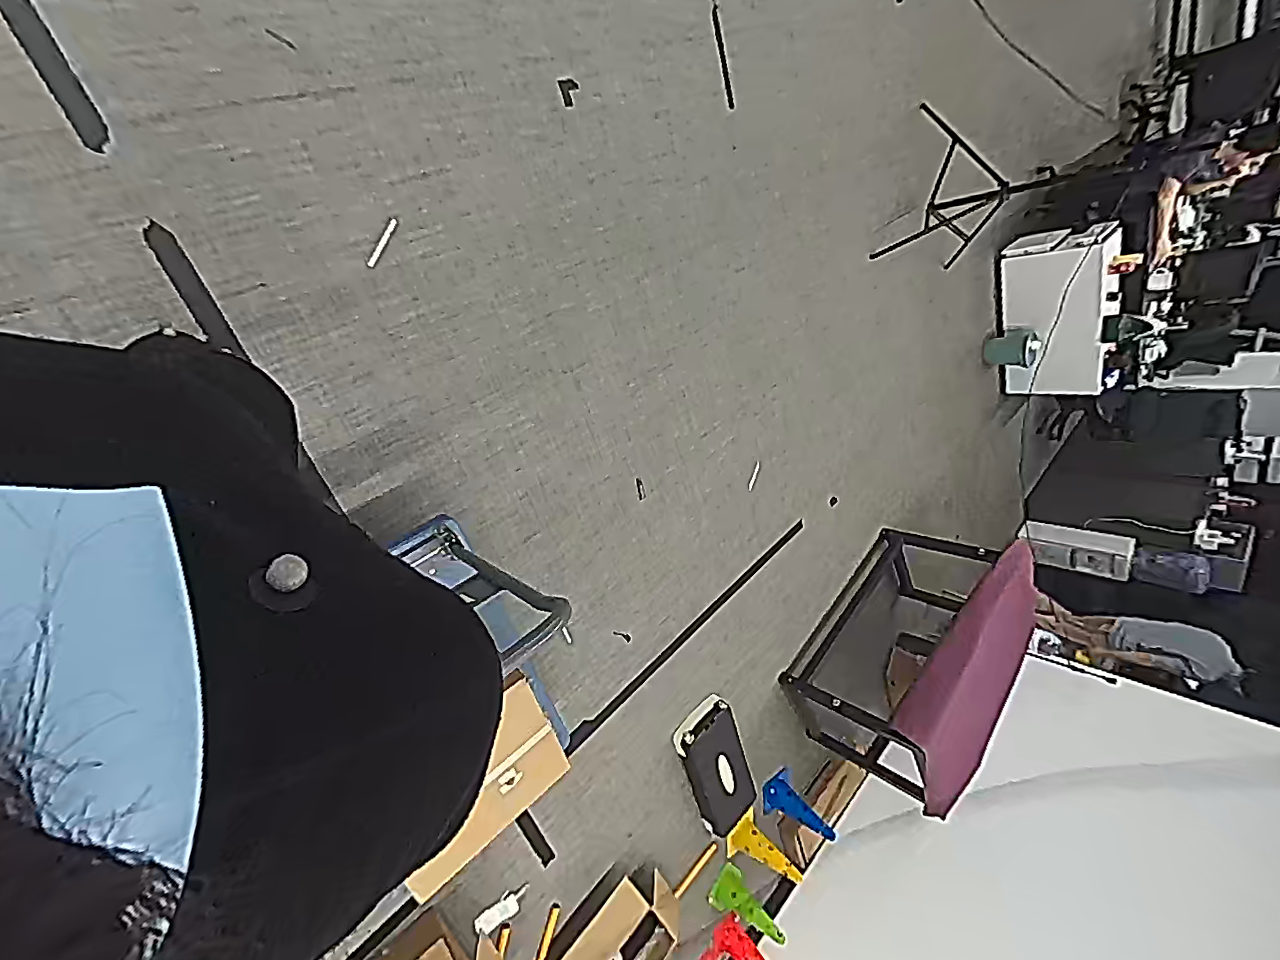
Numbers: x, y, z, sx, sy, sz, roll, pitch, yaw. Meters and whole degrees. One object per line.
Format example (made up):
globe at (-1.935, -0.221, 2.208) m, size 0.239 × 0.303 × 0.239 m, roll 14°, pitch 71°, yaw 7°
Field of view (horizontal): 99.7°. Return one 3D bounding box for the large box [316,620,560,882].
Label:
large box at (-0.478, 0.616, 1.304) m, size 0.408 × 0.320 × 0.320 m, roll -34°, pitch 119°, yaw -32°
